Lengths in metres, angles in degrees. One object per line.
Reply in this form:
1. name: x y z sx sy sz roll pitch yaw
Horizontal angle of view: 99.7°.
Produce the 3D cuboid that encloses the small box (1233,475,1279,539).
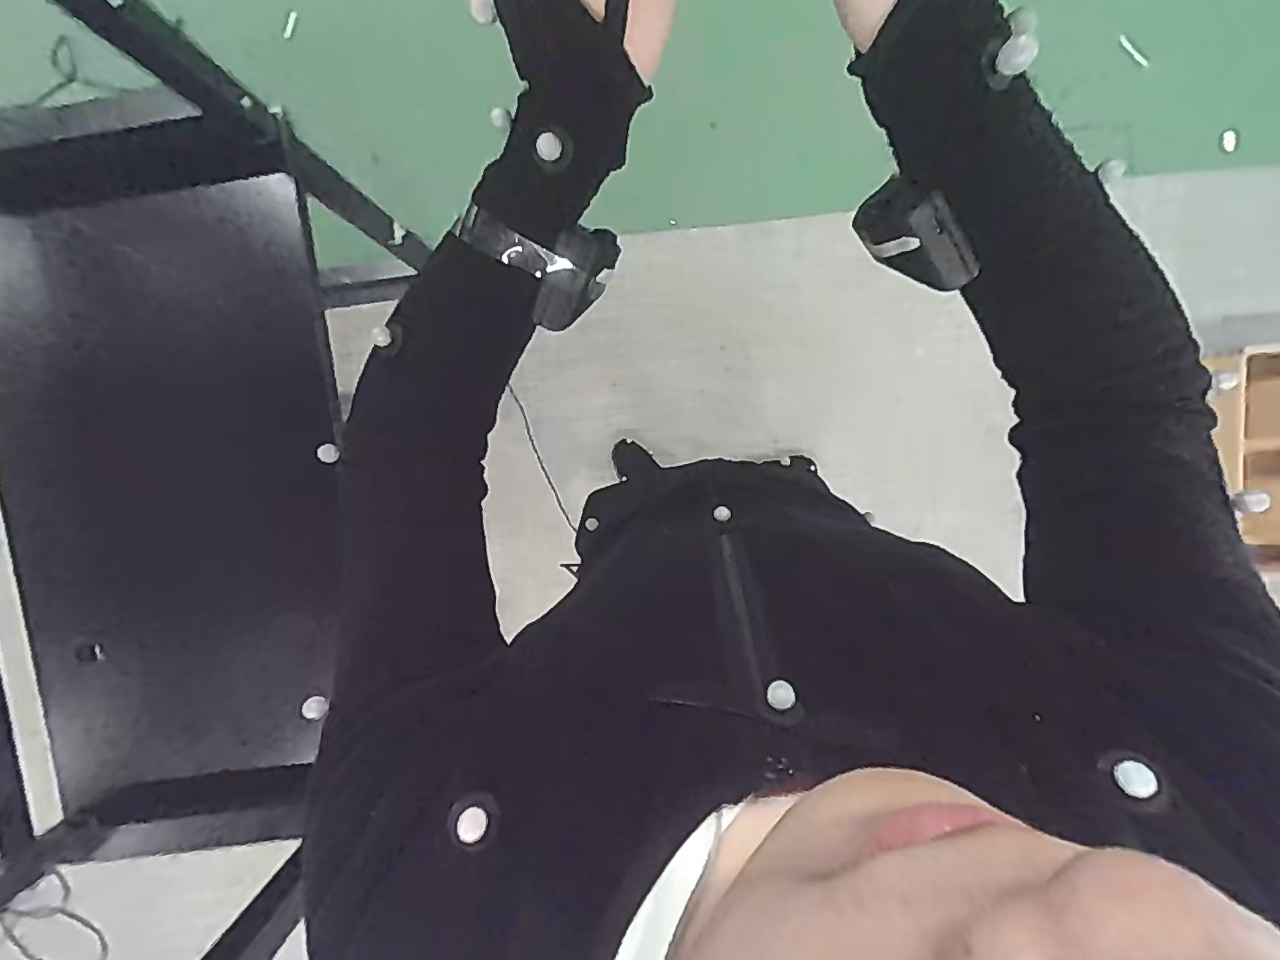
1. small box: 1.787 0.074 1.473 0.179 0.176 0.168 -3 94 1
